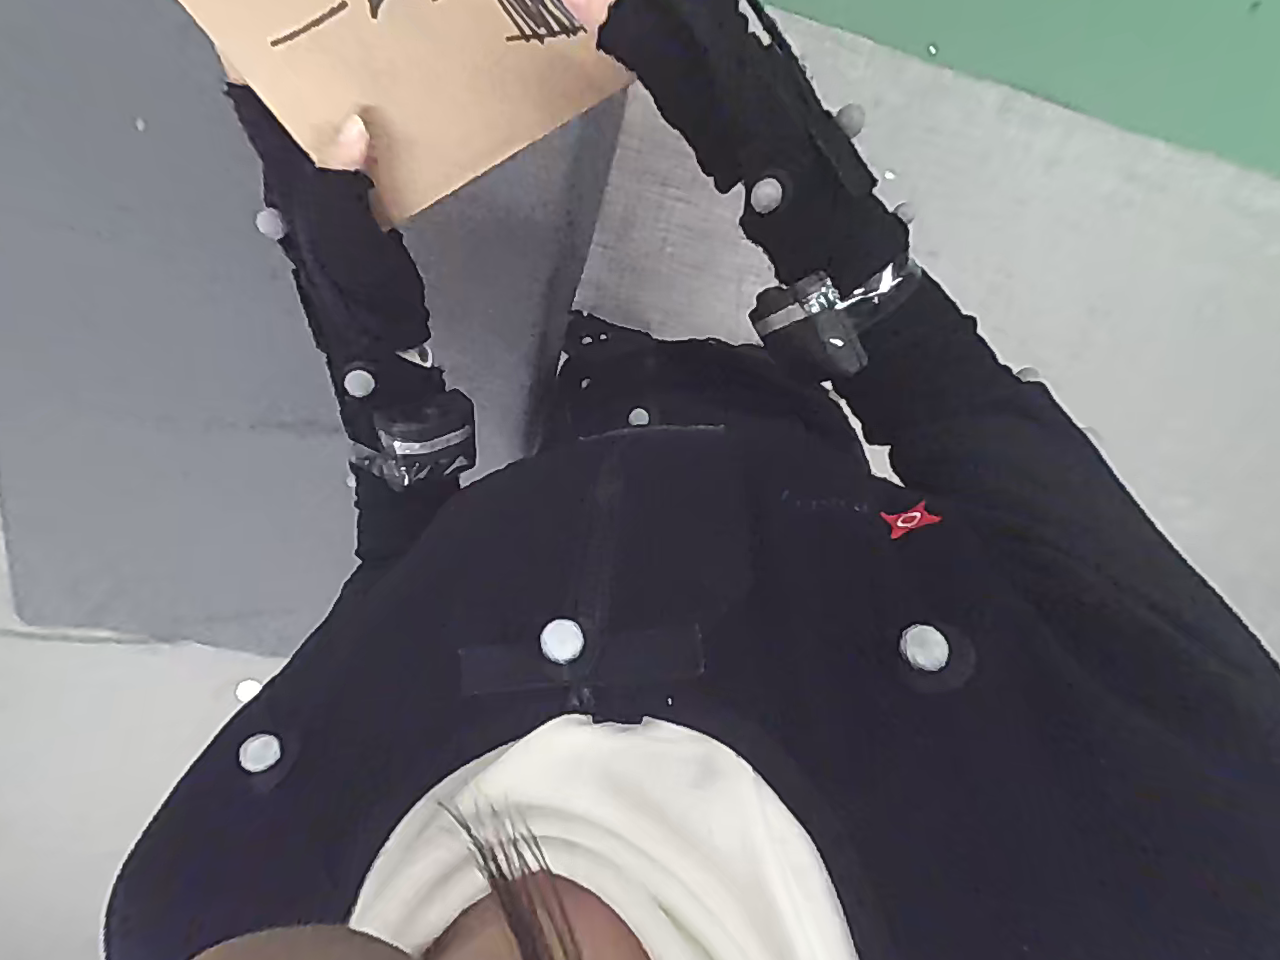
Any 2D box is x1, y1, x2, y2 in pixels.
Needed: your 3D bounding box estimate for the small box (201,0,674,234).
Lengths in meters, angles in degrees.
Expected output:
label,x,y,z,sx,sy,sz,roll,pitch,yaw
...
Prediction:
label,x,y,z,sx,sy,sz,roll,pitch,yaw
small box,-0.106,-0.276,0.284,0.179,0.176,0.168,-25,136,14
